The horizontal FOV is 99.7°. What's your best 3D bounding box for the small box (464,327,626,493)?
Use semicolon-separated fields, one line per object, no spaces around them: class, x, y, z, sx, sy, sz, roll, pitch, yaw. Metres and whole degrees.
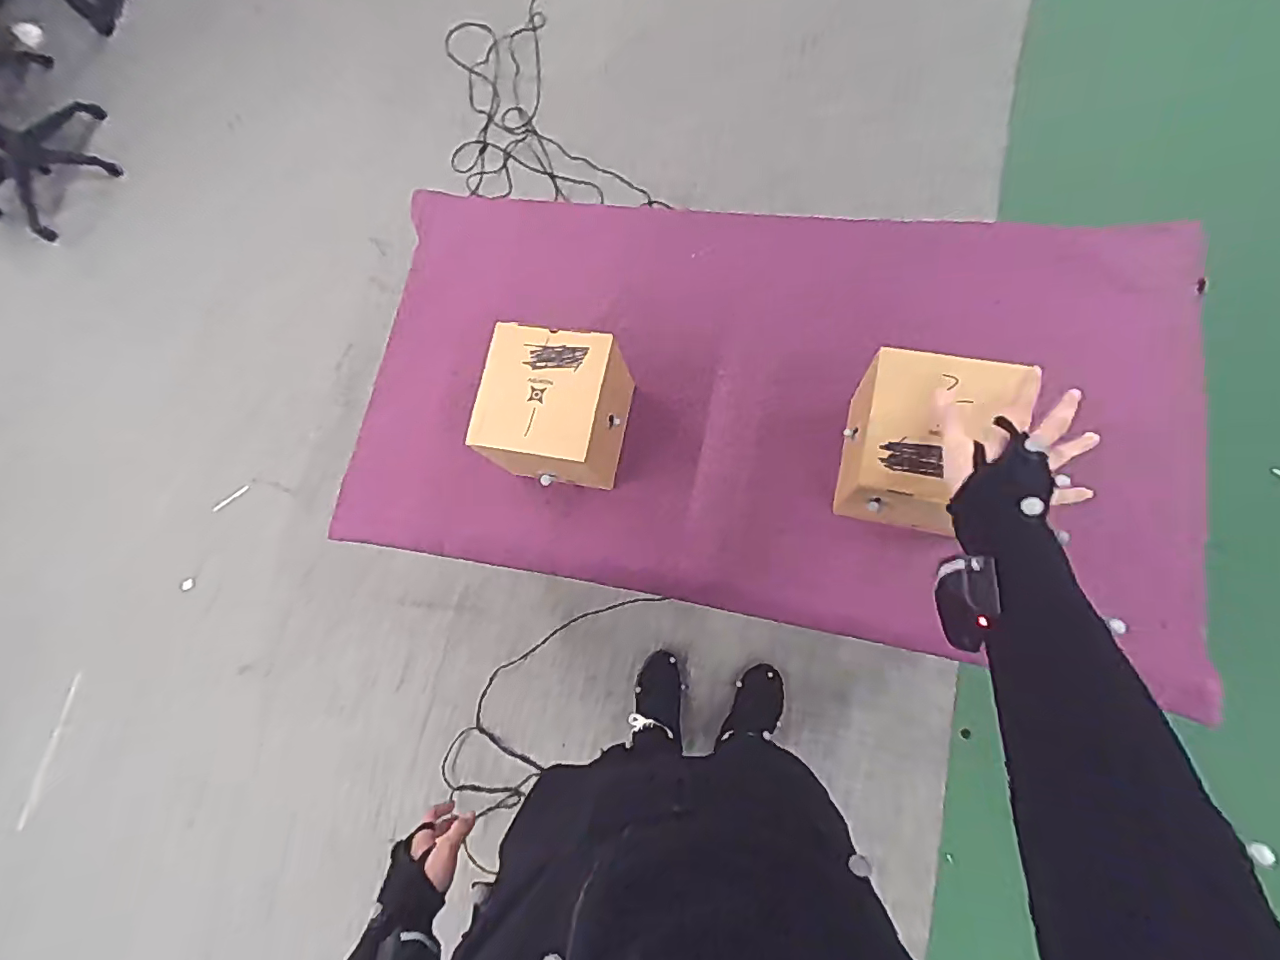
small box;-0.122;-0.093;0.778;0.168;0.176;0.179;9;79;11
